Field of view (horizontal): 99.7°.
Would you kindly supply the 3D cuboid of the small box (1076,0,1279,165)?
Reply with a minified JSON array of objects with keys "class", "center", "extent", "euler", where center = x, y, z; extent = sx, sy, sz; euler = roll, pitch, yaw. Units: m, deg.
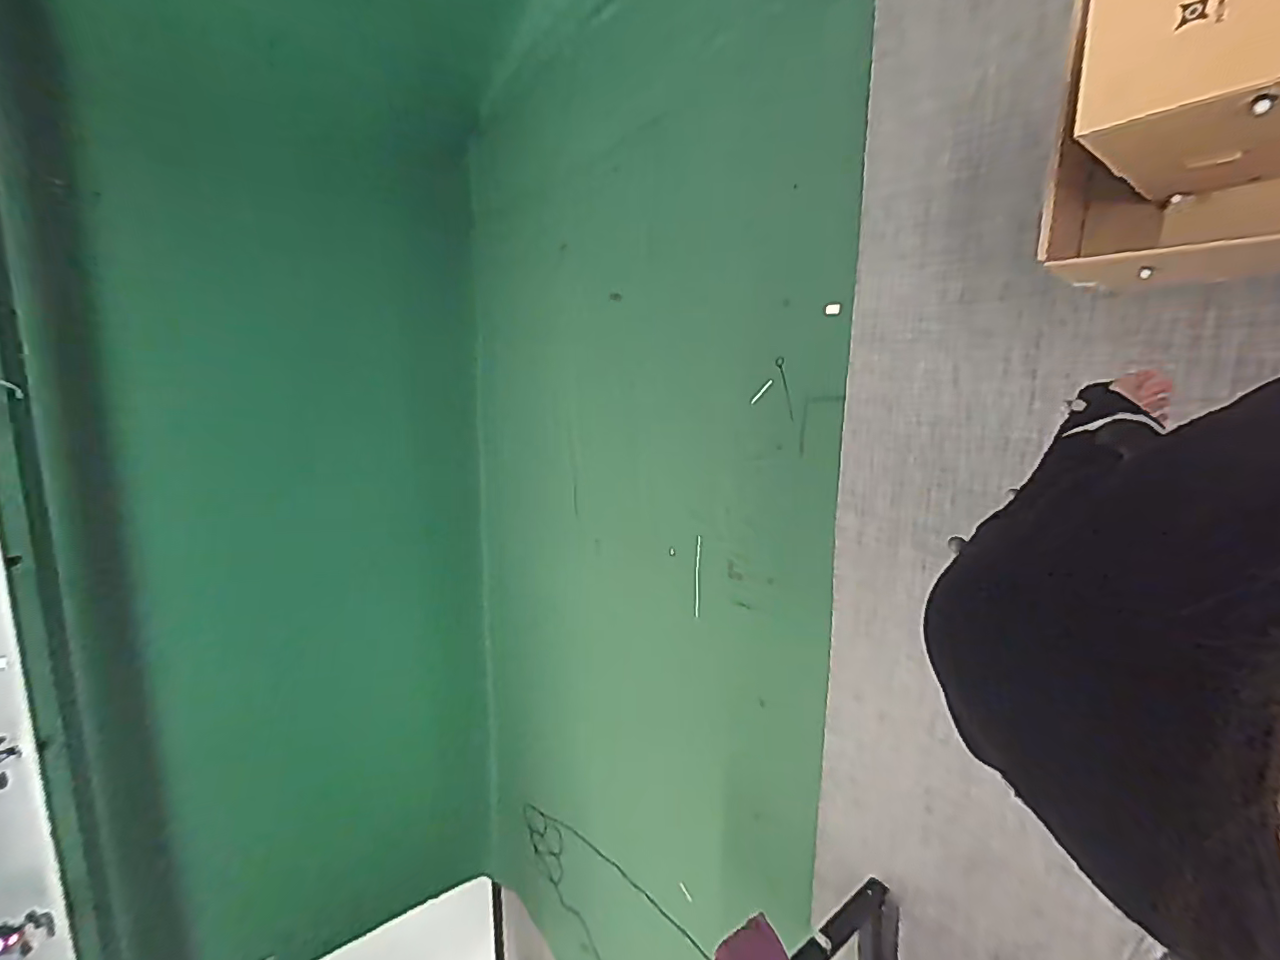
[{"class":"small box","center":[0.589,-0.450,0.551],"extent":[0.179,0.176,0.168],"euler":[13,105,52]}]
